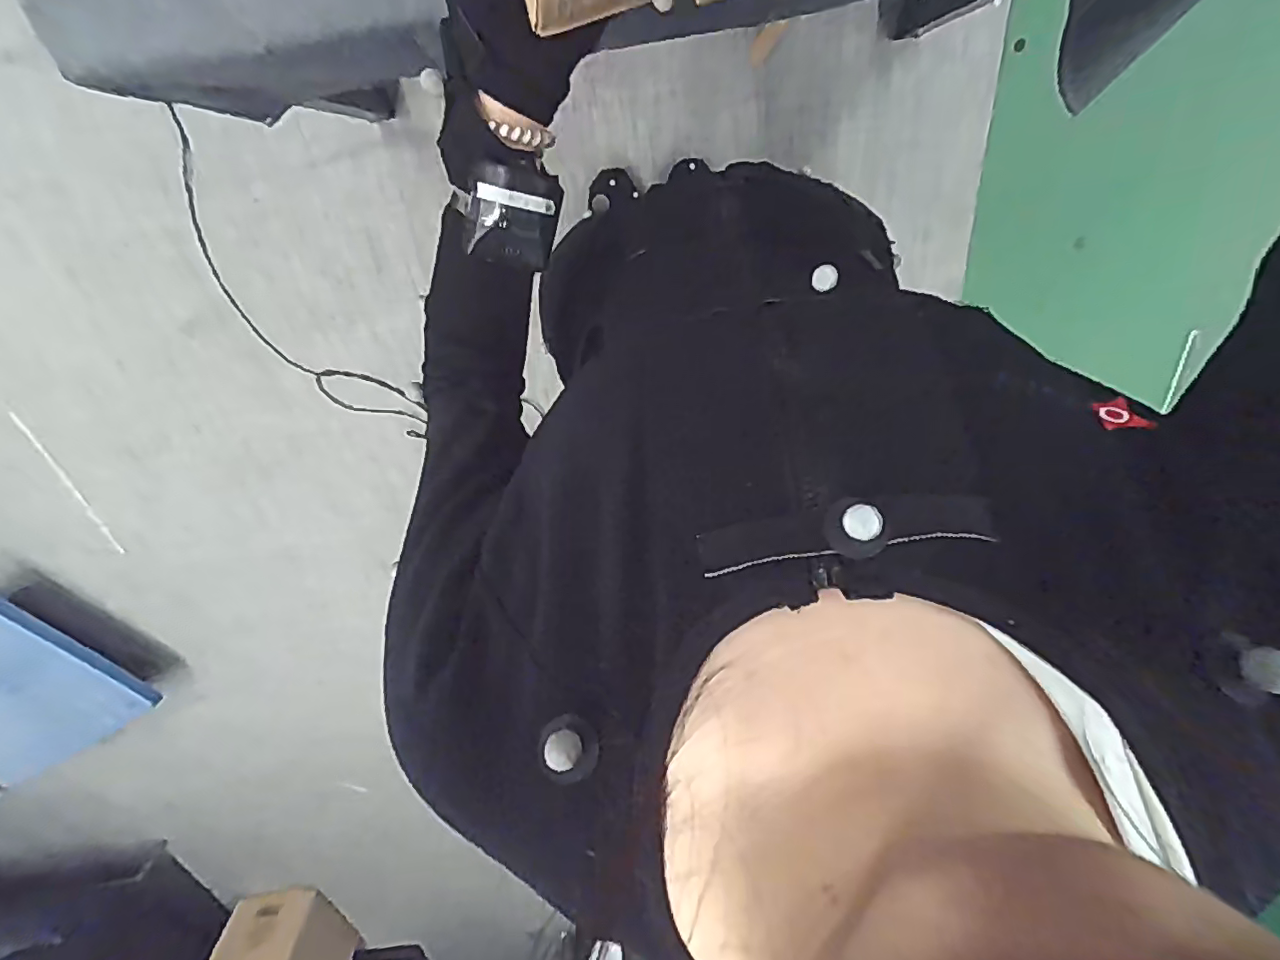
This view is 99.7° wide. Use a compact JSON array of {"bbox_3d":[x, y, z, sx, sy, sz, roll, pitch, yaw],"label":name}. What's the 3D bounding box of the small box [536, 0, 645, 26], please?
[{"bbox_3d":[0.007,-0.321,0.216,0.168,0.176,0.179,-17,126,1],"label":"small box"}]
